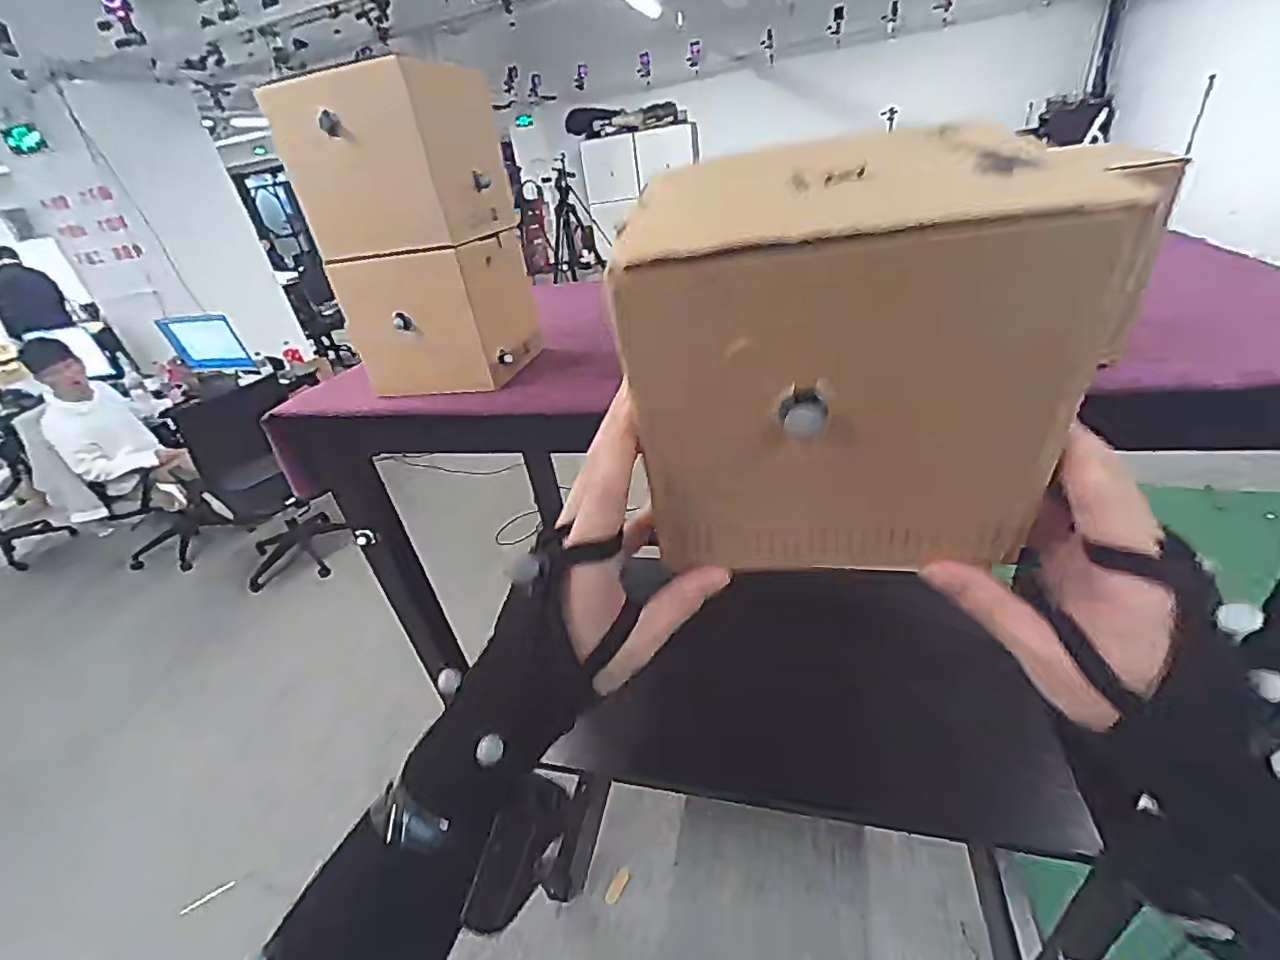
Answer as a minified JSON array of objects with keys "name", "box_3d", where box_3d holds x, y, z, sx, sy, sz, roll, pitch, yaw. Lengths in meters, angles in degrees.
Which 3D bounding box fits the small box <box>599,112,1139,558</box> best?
[{"name":"small box","box_3d":[0.094,-0.071,0.290,0.179,0.176,0.168,-3,41,12]}]

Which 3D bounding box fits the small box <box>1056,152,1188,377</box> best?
[{"name":"small box","box_3d":[0.358,-0.206,0.527,0.179,0.176,0.168,2,34,18]}]

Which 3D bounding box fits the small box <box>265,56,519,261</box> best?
[{"name":"small box","box_3d":[-0.265,-0.356,0.621,0.179,0.176,0.168,1,32,16]}]

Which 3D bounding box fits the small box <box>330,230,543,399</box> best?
[{"name":"small box","box_3d":[-0.245,-0.215,0.703,0.179,0.176,0.168,-1,31,15]}]
